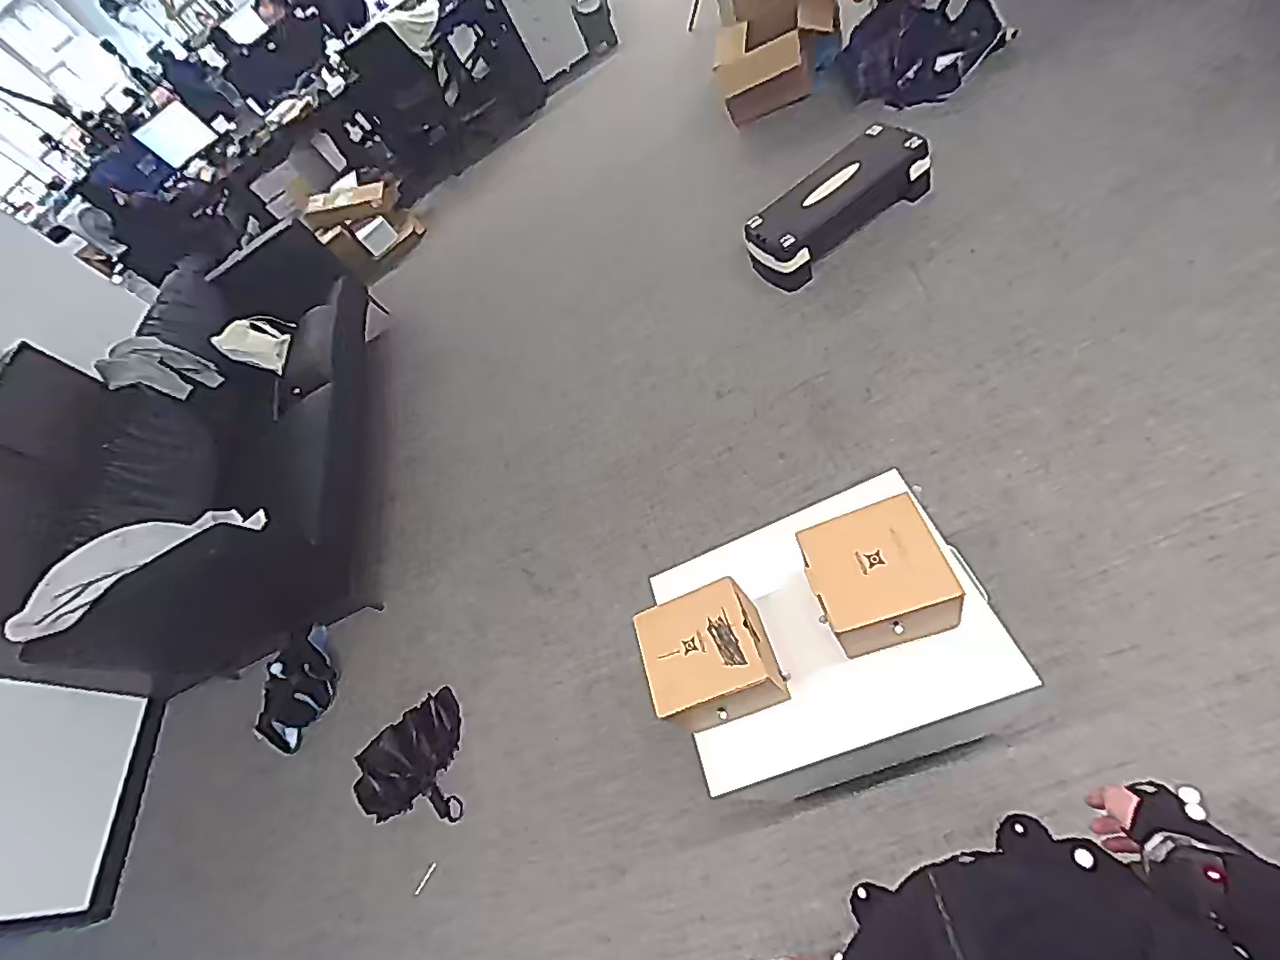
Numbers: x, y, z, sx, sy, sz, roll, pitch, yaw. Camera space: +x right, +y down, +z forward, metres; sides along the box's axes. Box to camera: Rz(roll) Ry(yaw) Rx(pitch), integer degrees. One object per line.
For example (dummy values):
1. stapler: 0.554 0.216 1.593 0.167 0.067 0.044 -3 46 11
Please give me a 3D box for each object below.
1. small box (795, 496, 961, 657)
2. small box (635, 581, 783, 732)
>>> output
1. small box: 0.361 0.157 0.827 0.179 0.176 0.168 -23 54 14
2. small box: 0.117 0.290 0.873 0.179 0.176 0.168 -26 52 13
